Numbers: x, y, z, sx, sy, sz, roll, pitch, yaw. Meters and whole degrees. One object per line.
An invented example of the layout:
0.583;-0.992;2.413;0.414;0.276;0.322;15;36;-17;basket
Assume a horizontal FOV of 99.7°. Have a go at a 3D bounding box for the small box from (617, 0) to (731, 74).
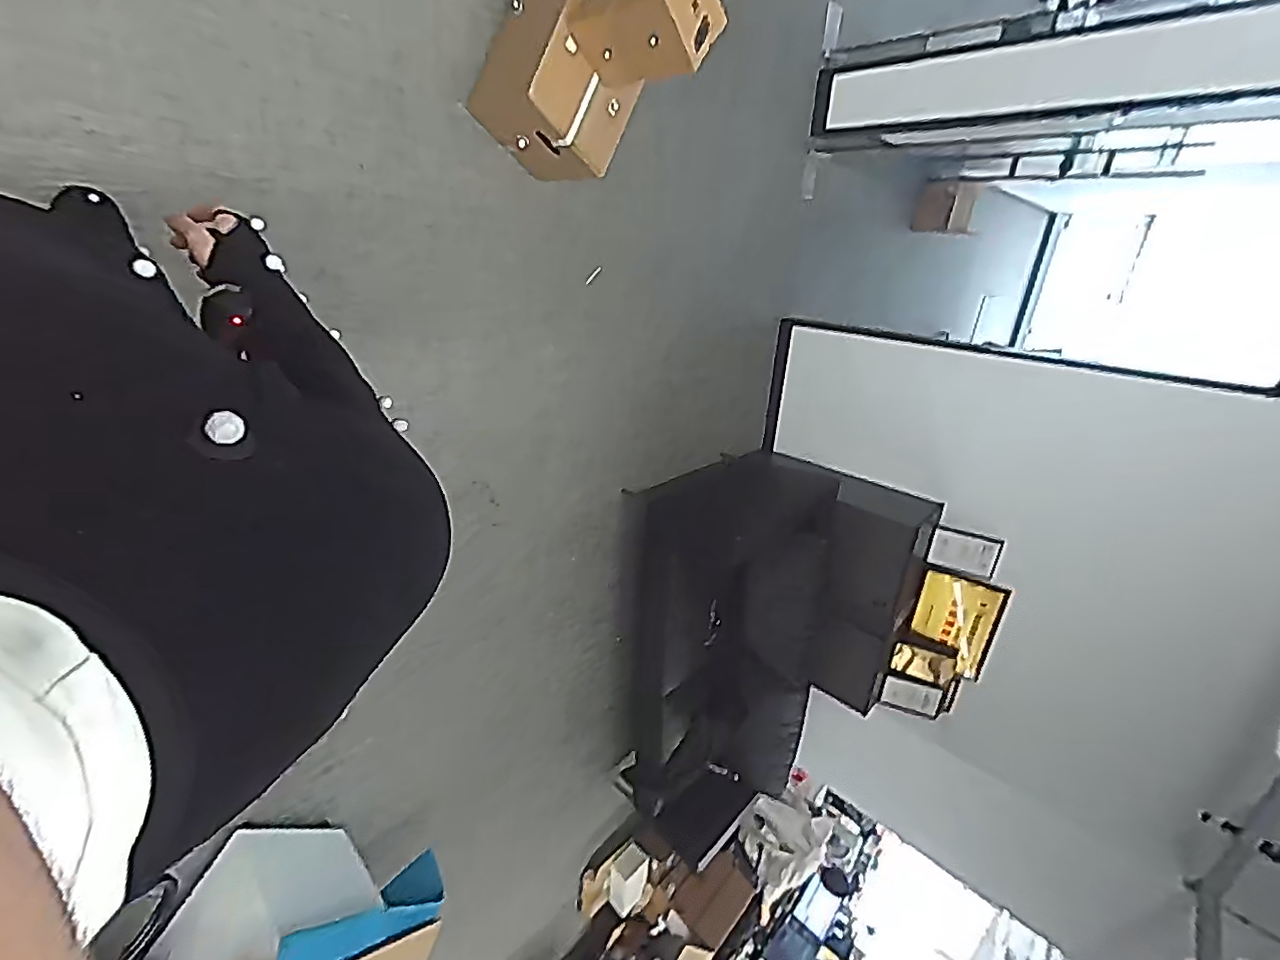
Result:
0.081;-1.108;1.287;0.179;0.176;0.168;39;79;-49;small box
